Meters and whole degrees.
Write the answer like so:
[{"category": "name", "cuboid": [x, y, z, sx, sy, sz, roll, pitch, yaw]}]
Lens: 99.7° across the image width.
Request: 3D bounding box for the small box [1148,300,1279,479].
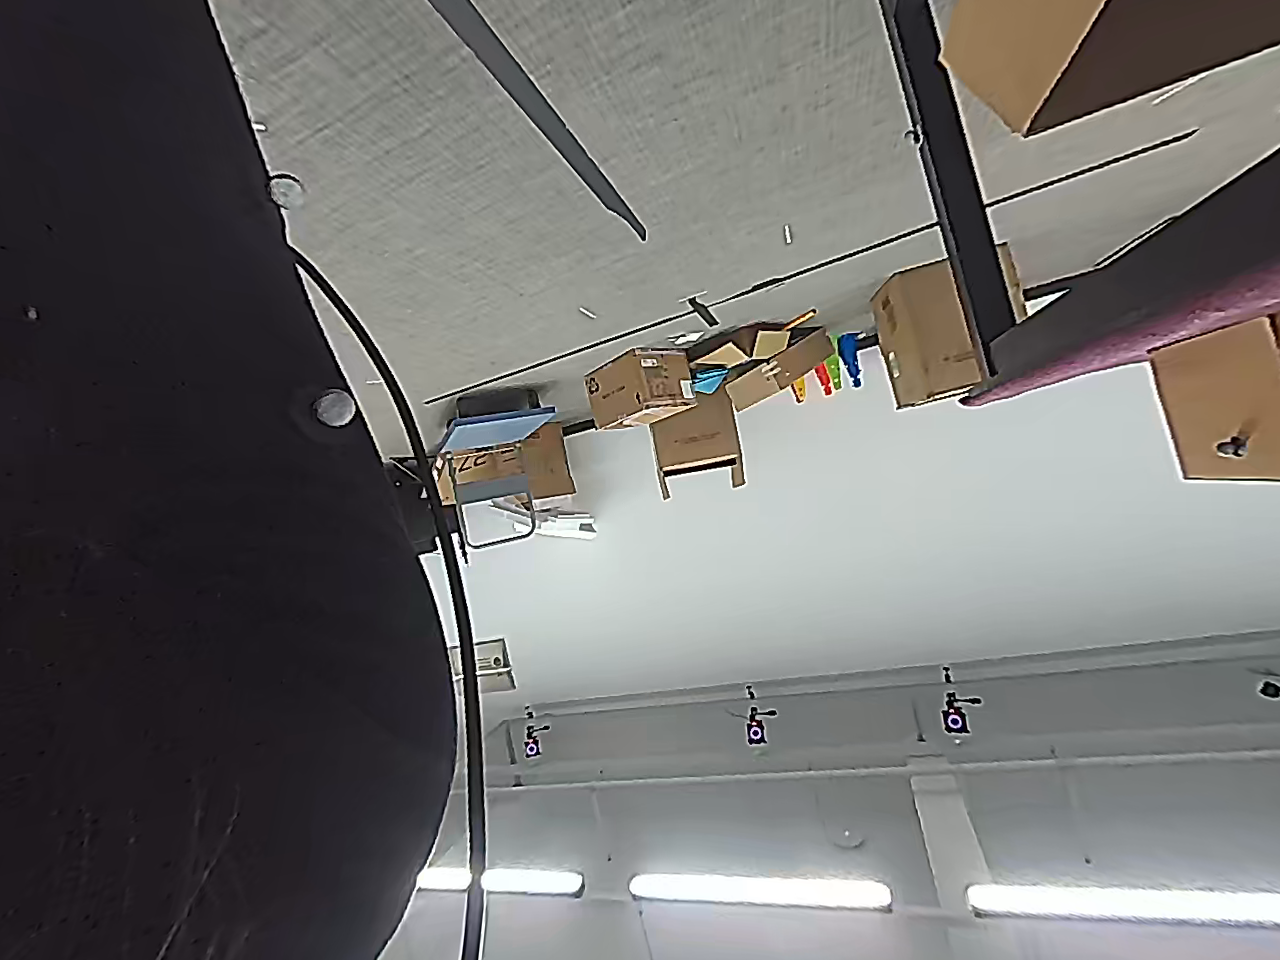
[{"category": "small box", "cuboid": [0.697, -0.103, 0.574, 0.168, 0.176, 0.179, -15, 177, 14]}]
